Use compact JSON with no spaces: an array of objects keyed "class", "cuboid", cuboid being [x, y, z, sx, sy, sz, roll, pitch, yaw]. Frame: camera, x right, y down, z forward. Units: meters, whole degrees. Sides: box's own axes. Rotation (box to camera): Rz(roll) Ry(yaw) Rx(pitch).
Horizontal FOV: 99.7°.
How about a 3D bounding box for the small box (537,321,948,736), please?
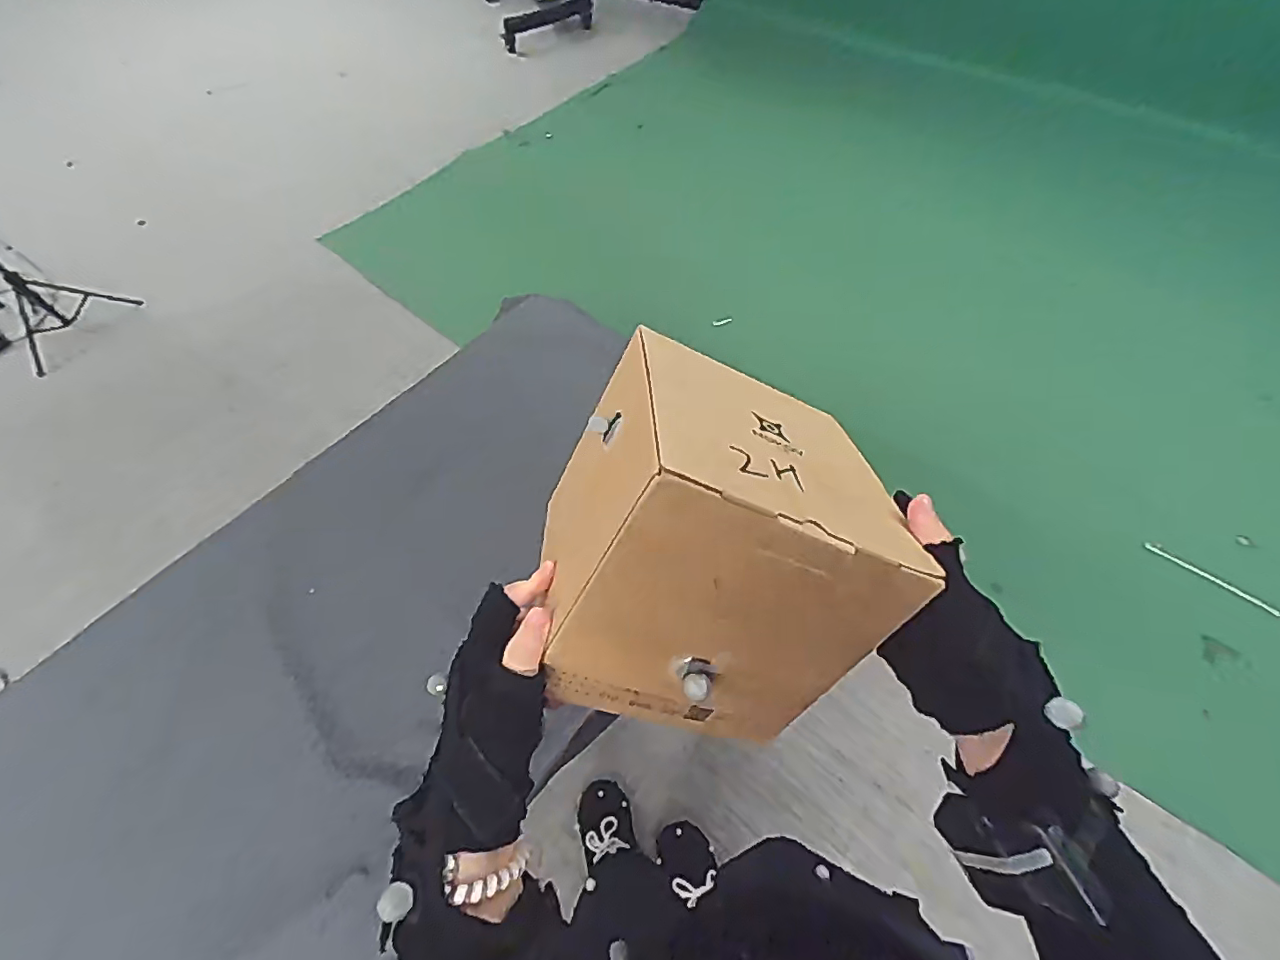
[{"class":"small box","cuboid":[0.043,0.030,0.355,0.168,0.176,0.179,22,31,-17]}]
